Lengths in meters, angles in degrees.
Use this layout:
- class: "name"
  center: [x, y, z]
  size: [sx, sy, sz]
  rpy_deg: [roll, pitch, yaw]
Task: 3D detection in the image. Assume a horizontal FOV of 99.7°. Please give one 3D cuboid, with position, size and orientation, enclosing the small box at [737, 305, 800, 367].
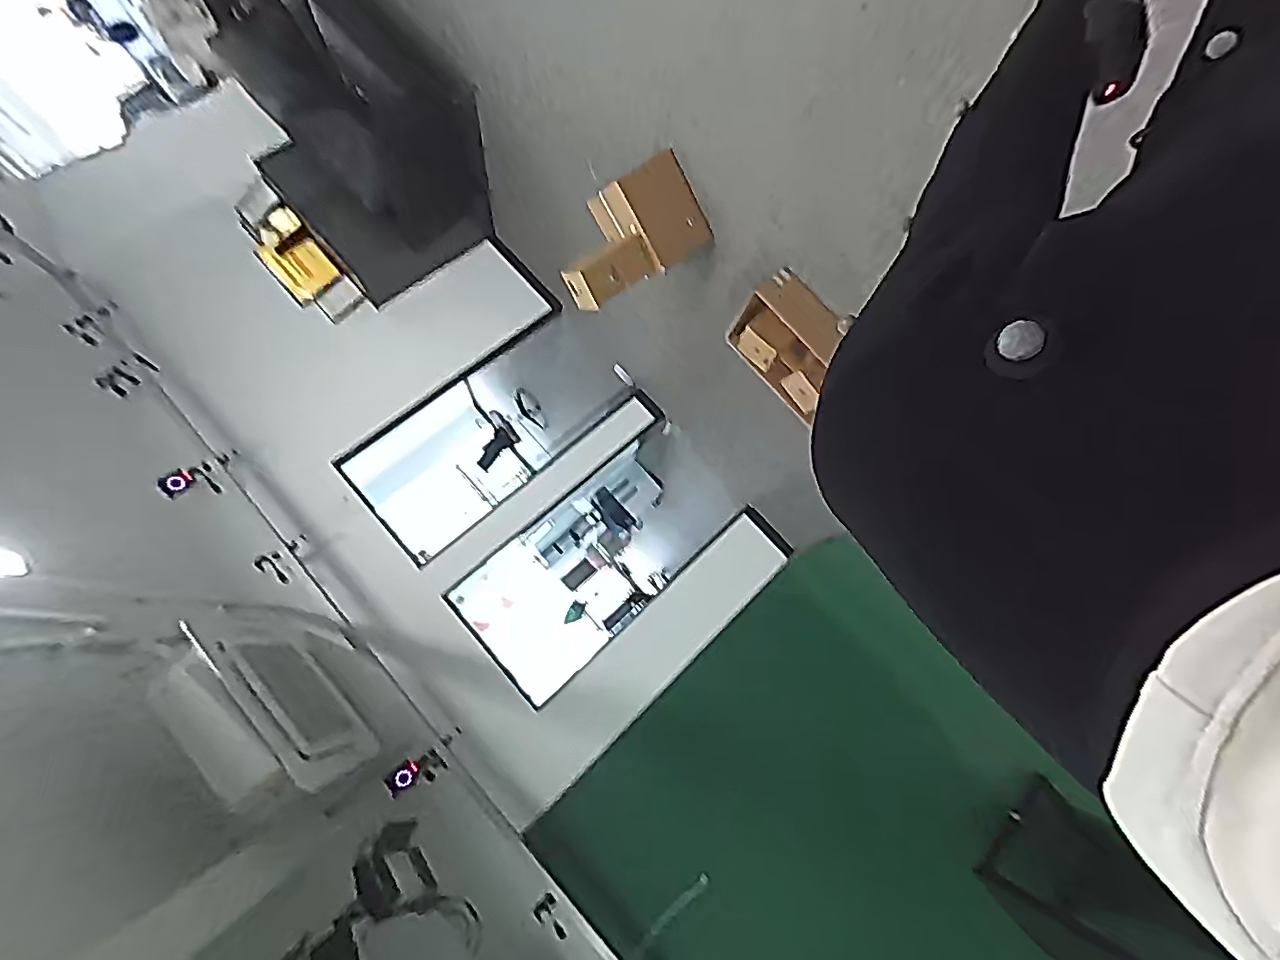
- class: "small box"
  center: [0.560, -0.634, 2.355]
  size: [0.179, 0.176, 0.168]
  rpy_deg: [46, 163, 9]

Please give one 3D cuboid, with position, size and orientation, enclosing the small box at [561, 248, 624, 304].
- class: "small box"
  center: [-0.196, -0.865, 2.294]
  size: [0.179, 0.176, 0.168]
  rpy_deg: [25, 151, 51]
